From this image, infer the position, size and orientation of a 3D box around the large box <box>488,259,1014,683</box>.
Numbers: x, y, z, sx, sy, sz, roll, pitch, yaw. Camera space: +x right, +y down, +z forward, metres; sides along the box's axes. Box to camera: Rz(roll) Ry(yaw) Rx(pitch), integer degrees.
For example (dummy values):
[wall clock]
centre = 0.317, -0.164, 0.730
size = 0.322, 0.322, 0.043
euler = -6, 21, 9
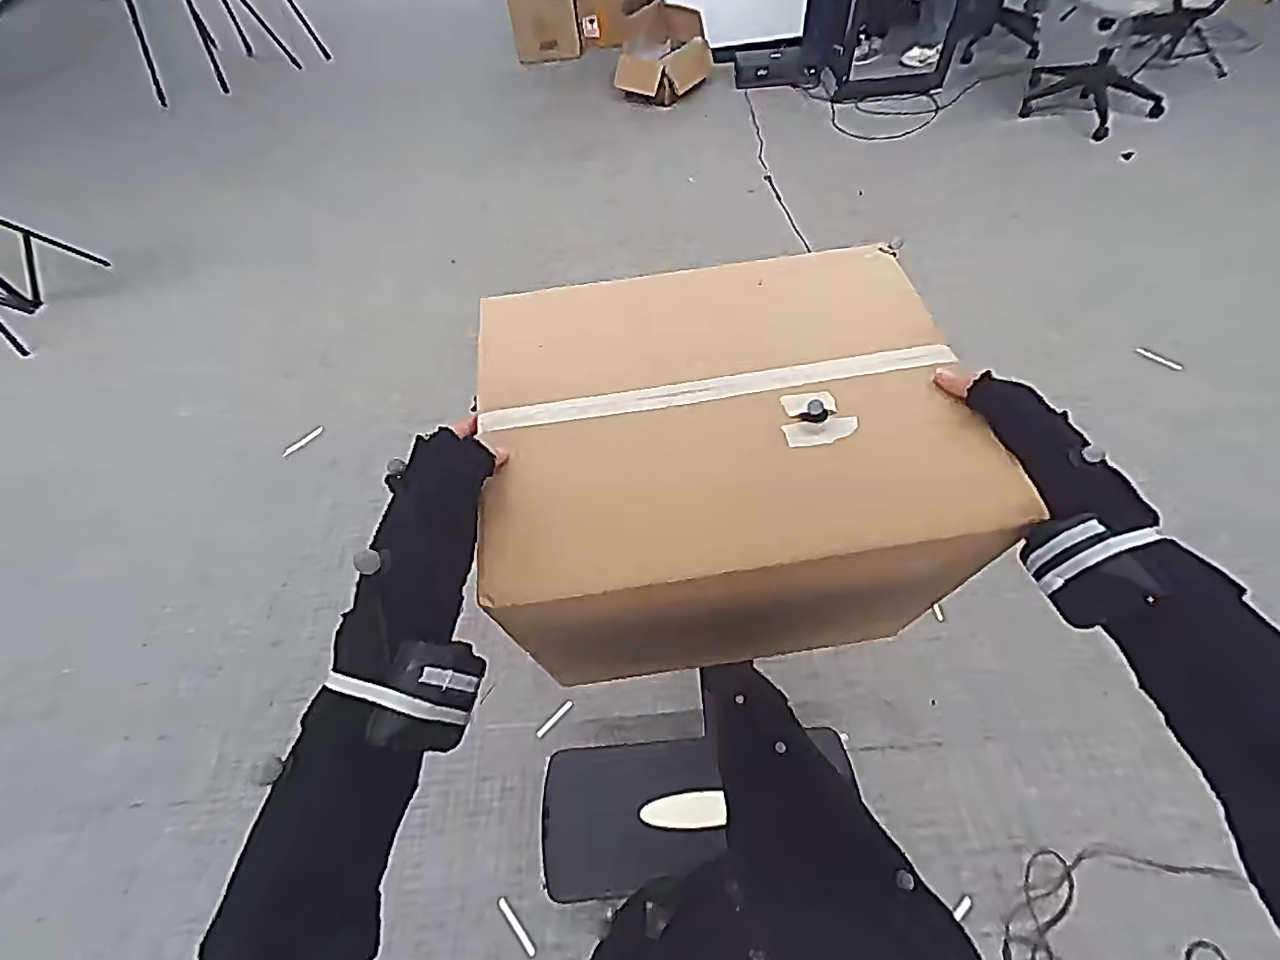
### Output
[large box]
centre = 0.071, 0.007, 0.599
size = 0.408, 0.320, 0.320
euler = -9, 59, -2
